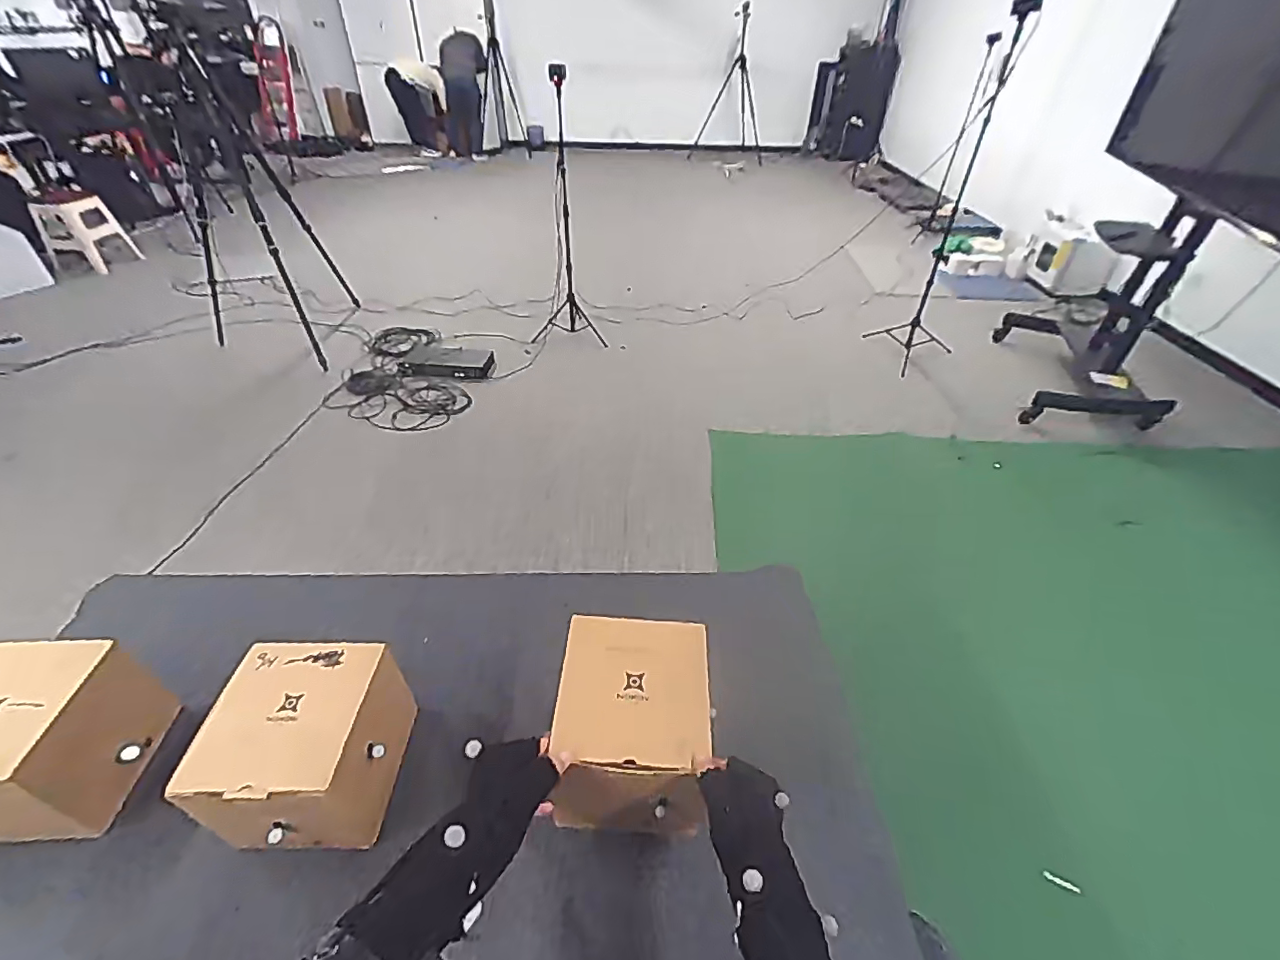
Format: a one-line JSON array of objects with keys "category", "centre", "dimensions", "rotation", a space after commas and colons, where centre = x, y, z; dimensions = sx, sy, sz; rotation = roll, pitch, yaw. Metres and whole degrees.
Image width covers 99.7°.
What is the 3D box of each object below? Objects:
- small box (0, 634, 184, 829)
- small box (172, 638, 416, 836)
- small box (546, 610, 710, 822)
[{"category": "small box", "centre": [-0.726, 0.306, 0.658], "dimensions": [0.179, 0.176, 0.168], "rotation": [0, 41, -4]}, {"category": "small box", "centre": [-0.395, 0.316, 0.662], "dimensions": [0.168, 0.176, 0.179], "rotation": [1, 41, -1]}, {"category": "small box", "centre": [-0.011, 0.281, 0.643], "dimensions": [0.168, 0.176, 0.179], "rotation": [4, 39, -1]}]
